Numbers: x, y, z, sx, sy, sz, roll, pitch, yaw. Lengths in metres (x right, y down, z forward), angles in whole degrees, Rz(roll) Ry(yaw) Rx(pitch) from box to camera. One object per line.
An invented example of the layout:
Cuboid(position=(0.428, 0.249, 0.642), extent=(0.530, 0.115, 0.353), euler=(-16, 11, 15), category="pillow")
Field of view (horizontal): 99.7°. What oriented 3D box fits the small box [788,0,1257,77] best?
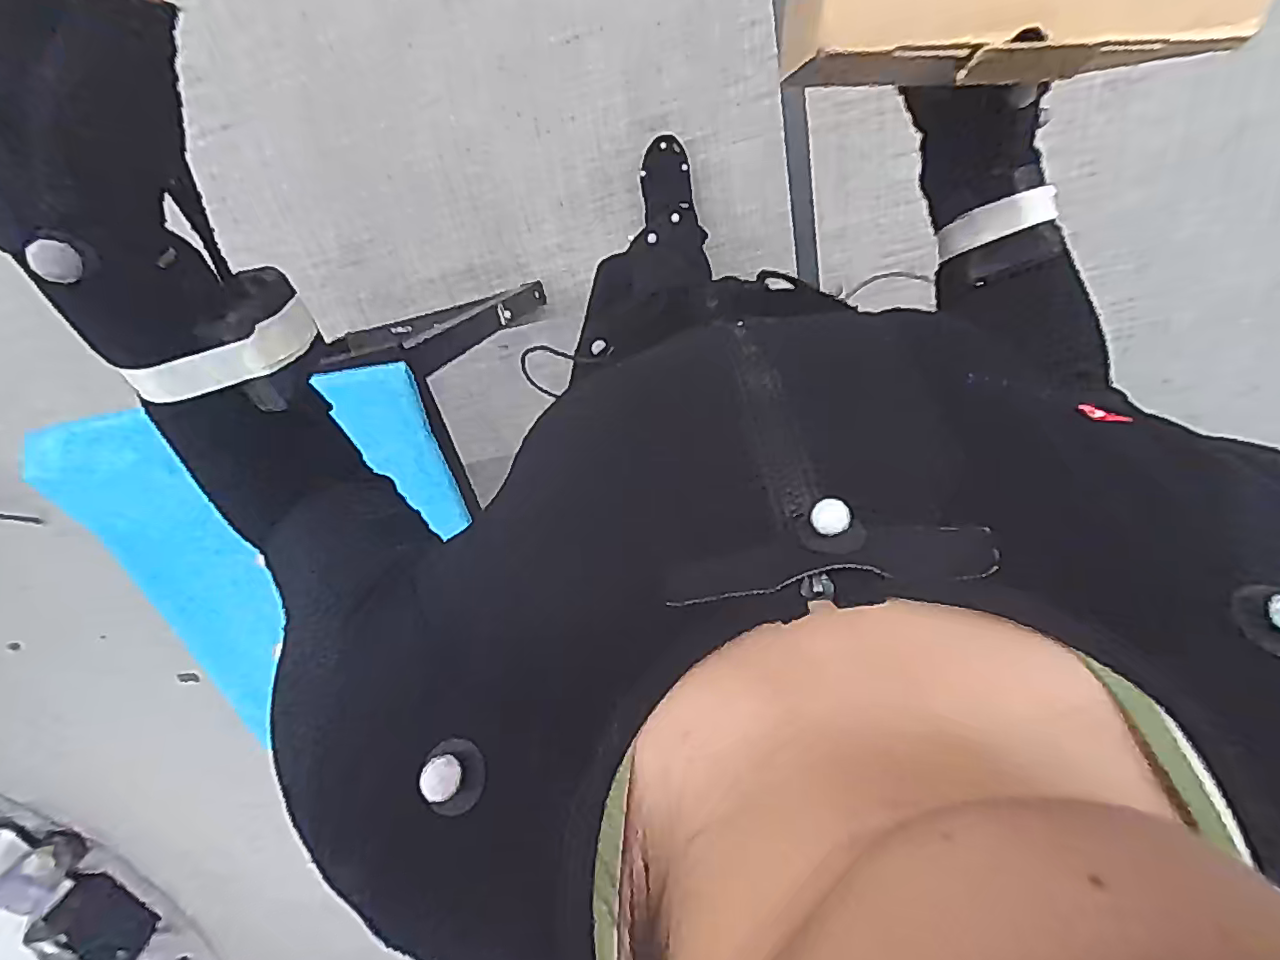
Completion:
Cuboid(position=(0.166, -0.293, 0.240), extent=(0.168, 0.176, 0.179), euler=(5, 123, 5), category="small box")
